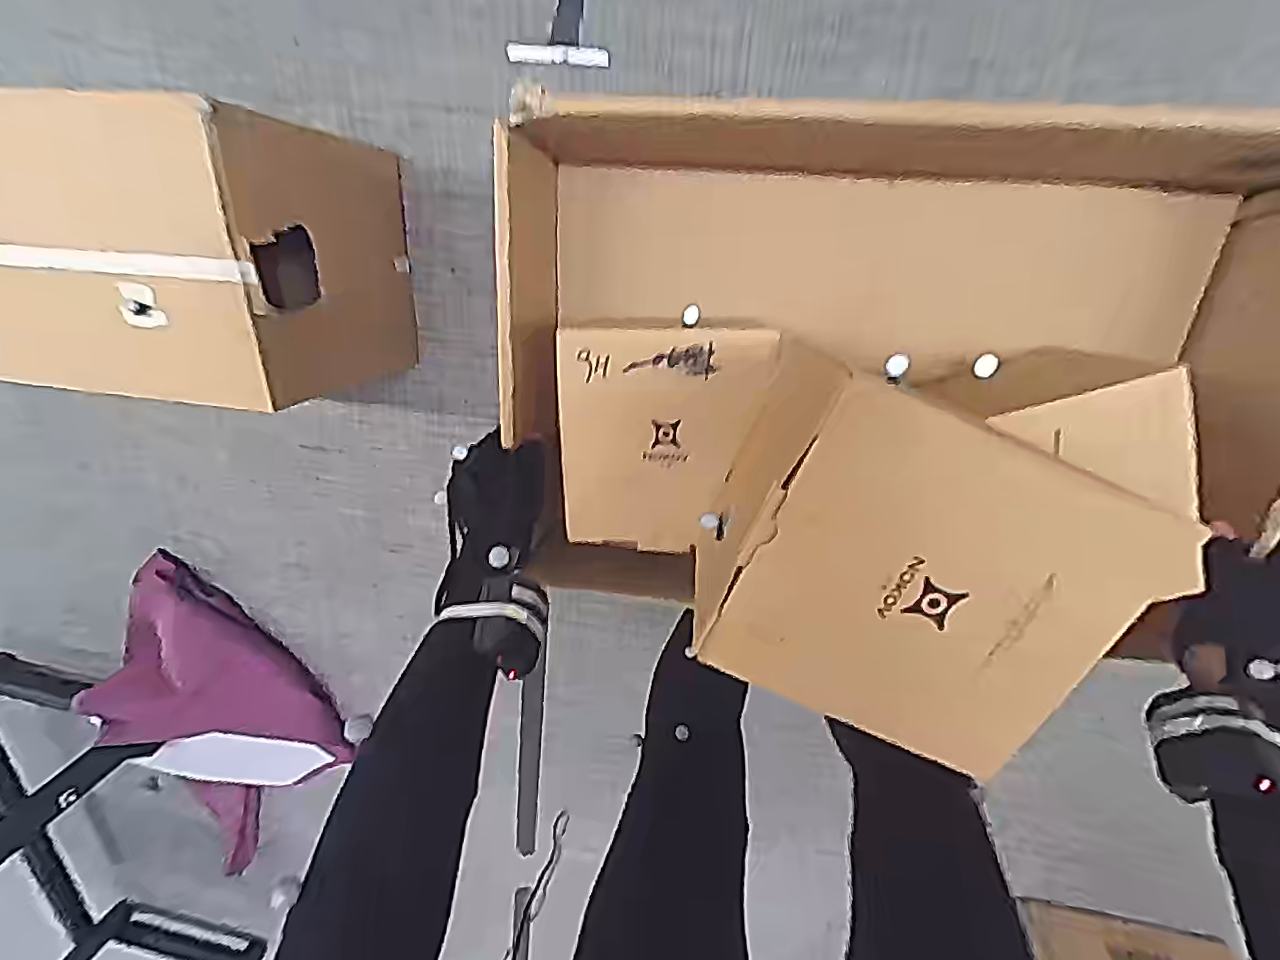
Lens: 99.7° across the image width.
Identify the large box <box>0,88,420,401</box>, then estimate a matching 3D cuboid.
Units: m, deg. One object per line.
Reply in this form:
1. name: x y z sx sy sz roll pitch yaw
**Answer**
1. large box: -0.577 -0.306 0.738 0.408 0.320 0.320 6 114 7
